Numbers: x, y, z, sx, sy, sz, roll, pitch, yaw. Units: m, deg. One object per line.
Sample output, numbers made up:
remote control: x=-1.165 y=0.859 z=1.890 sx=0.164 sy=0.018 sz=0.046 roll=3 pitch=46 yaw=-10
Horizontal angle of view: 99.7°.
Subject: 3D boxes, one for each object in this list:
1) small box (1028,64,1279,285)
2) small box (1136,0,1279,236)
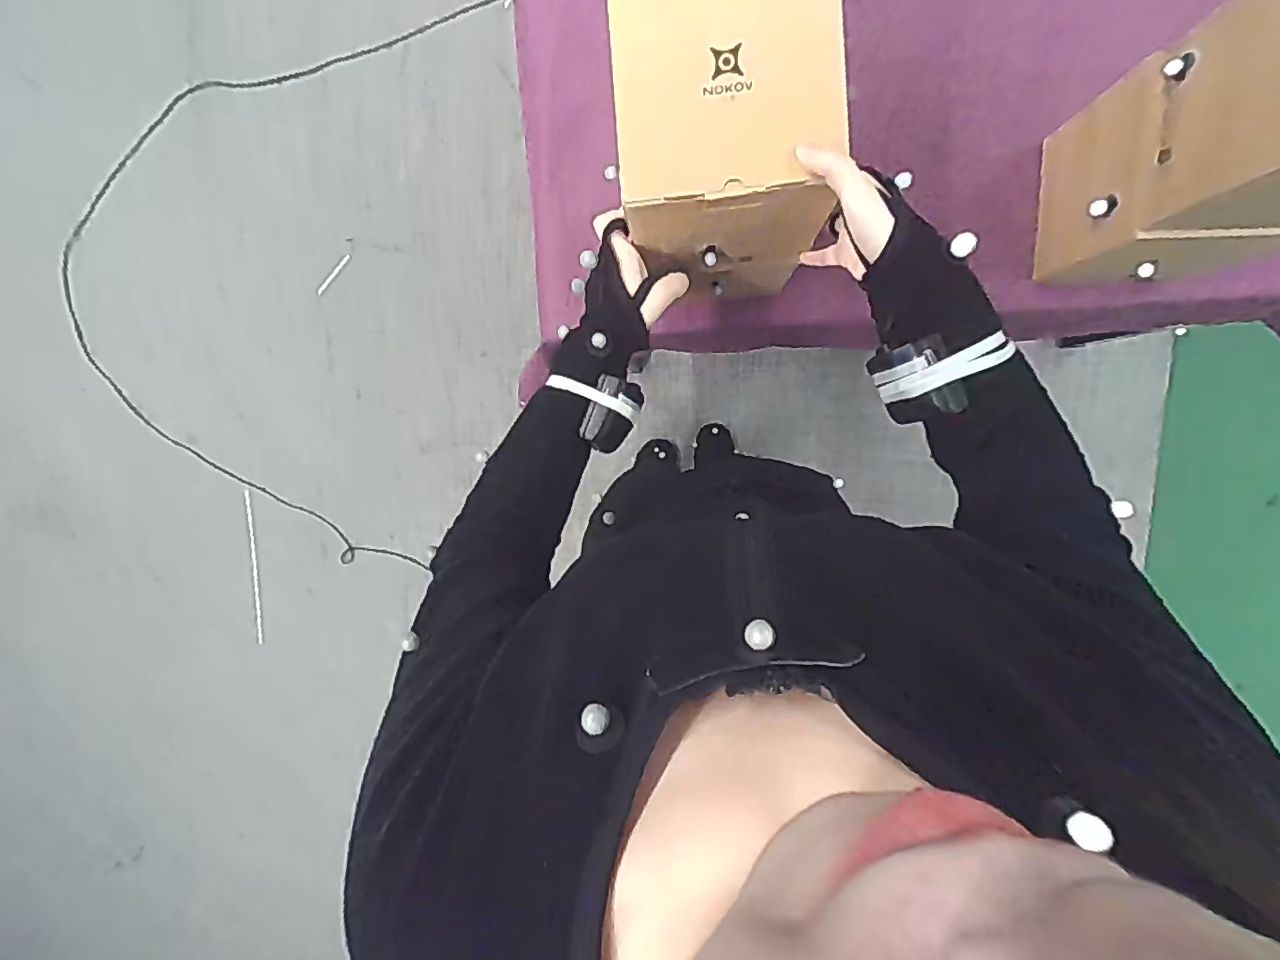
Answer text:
small box: x=0.575 y=-0.325 z=0.609 sx=0.168 sy=0.176 sz=0.179 roll=1 pitch=96 yaw=4
small box: x=0.569 y=-0.312 z=0.445 sx=0.179 sy=0.176 sz=0.168 roll=1 pitch=96 yaw=4
